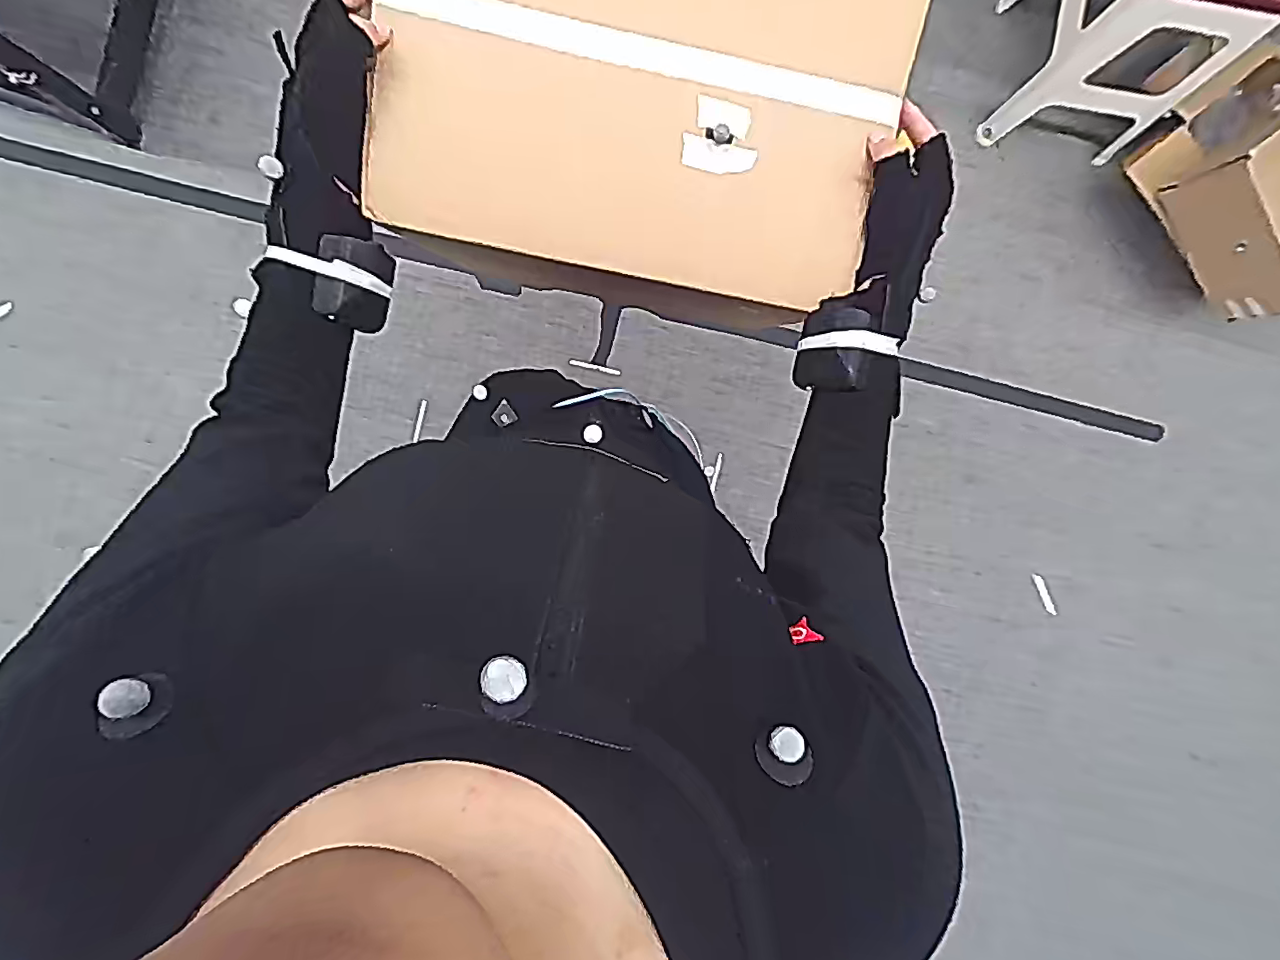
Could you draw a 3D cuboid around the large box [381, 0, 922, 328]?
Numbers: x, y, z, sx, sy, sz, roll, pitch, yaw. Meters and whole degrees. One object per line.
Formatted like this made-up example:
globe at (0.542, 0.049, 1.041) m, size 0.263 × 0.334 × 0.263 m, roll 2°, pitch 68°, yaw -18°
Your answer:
large box at (-0.001, -0.355, 0.567) m, size 0.408 × 0.320 × 0.320 m, roll 10°, pitch 104°, yaw -6°
